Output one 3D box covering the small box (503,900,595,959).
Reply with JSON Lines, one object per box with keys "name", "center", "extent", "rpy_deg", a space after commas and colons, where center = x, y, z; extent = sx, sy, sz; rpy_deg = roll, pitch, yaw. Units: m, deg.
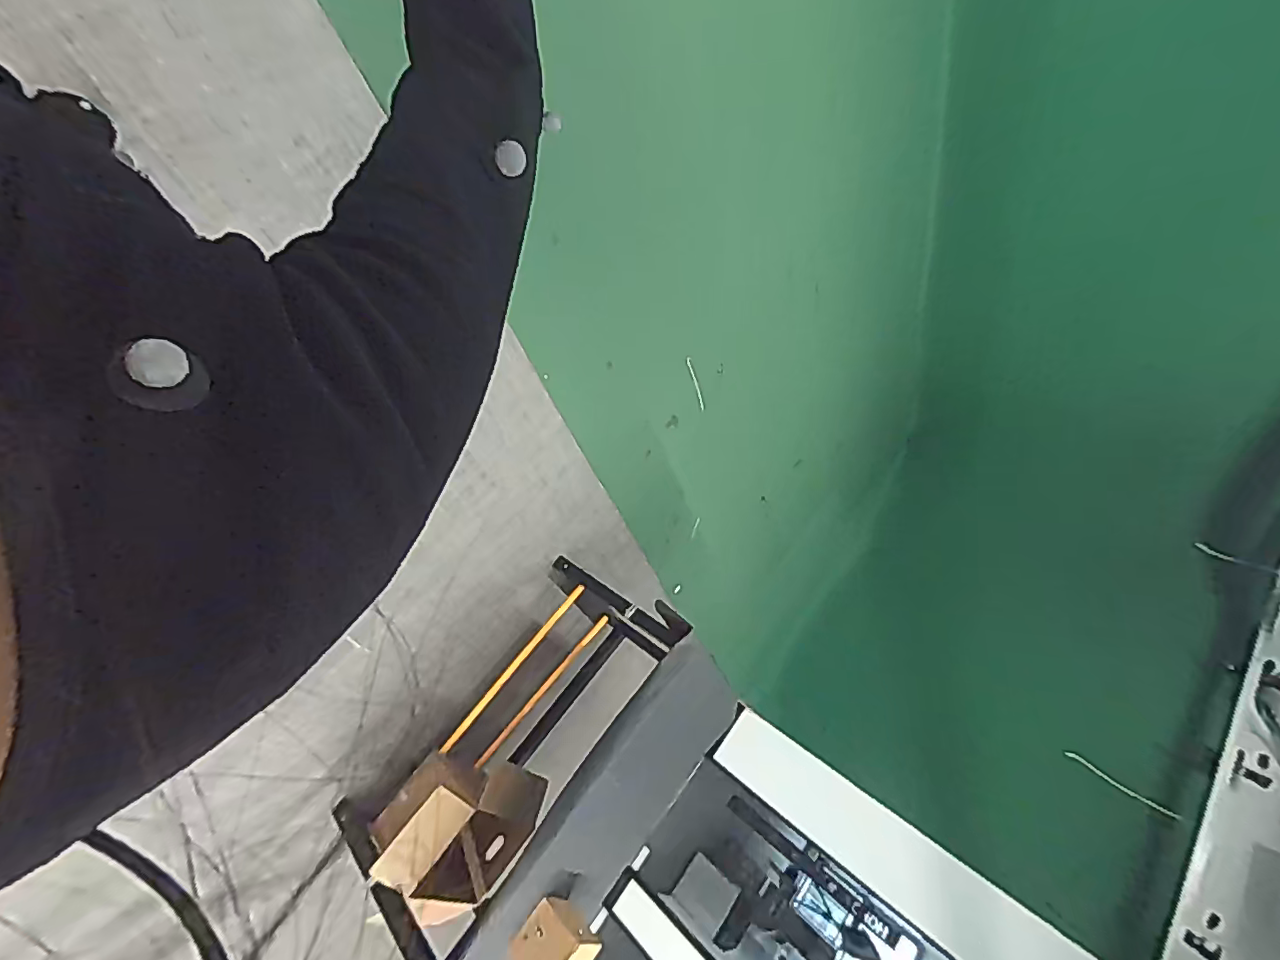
{"name": "small box", "center": [-0.268, 1.387, 1.596], "extent": [0.168, 0.176, 0.179], "rpy_deg": [-48, 139, -20]}
